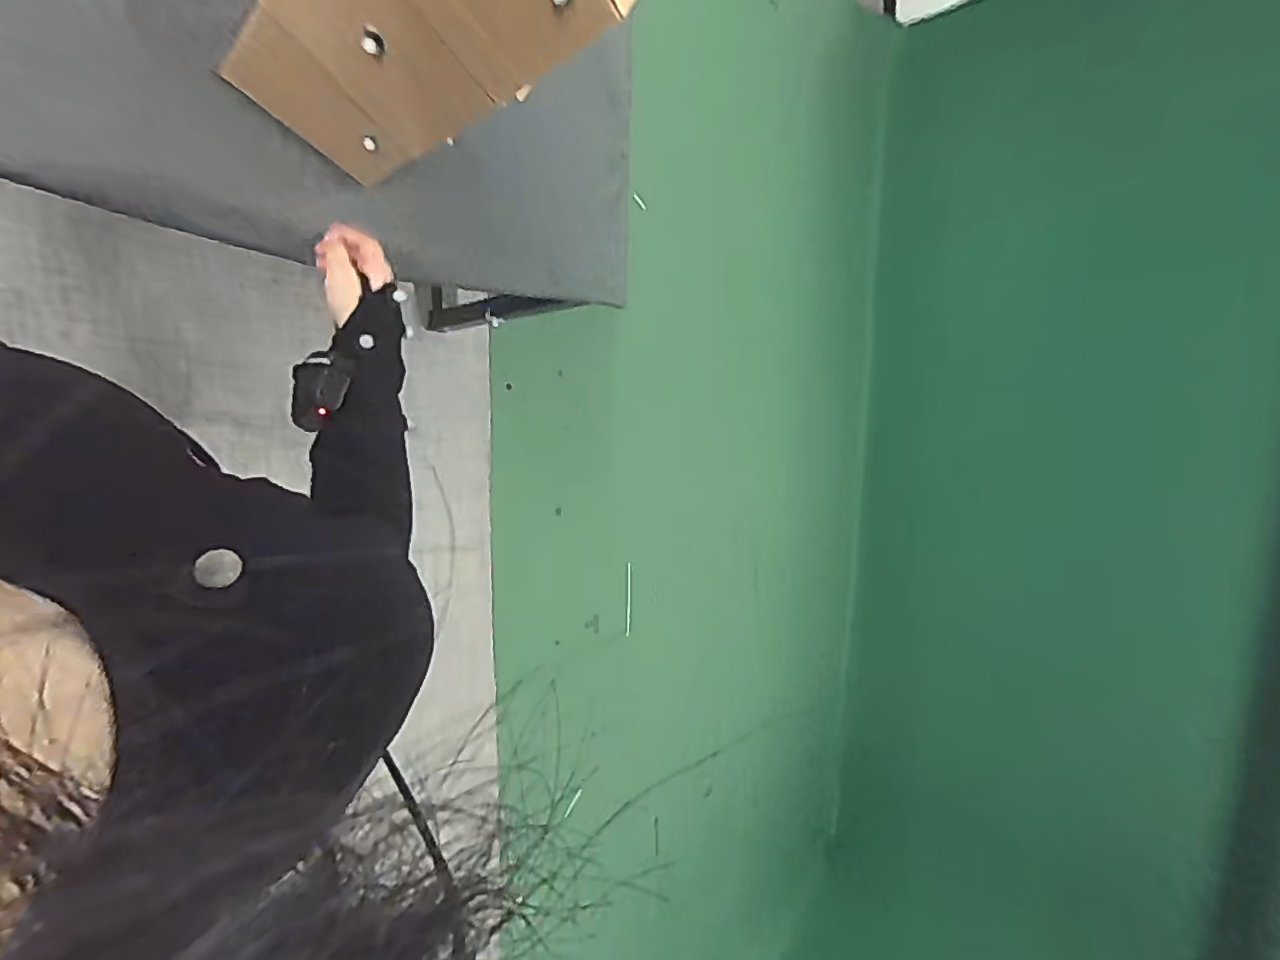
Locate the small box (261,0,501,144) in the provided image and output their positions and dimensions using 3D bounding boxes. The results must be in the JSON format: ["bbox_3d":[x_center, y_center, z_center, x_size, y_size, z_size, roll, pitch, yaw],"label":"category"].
[{"bbox_3d":[-0.218,-0.464,0.523,0.179,0.176,0.168,39,66,-43],"label":"small box"}]

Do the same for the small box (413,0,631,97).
[{"bbox_3d":[-0.099,-0.451,0.413,0.179,0.176,0.168,37,67,-45],"label":"small box"}]
